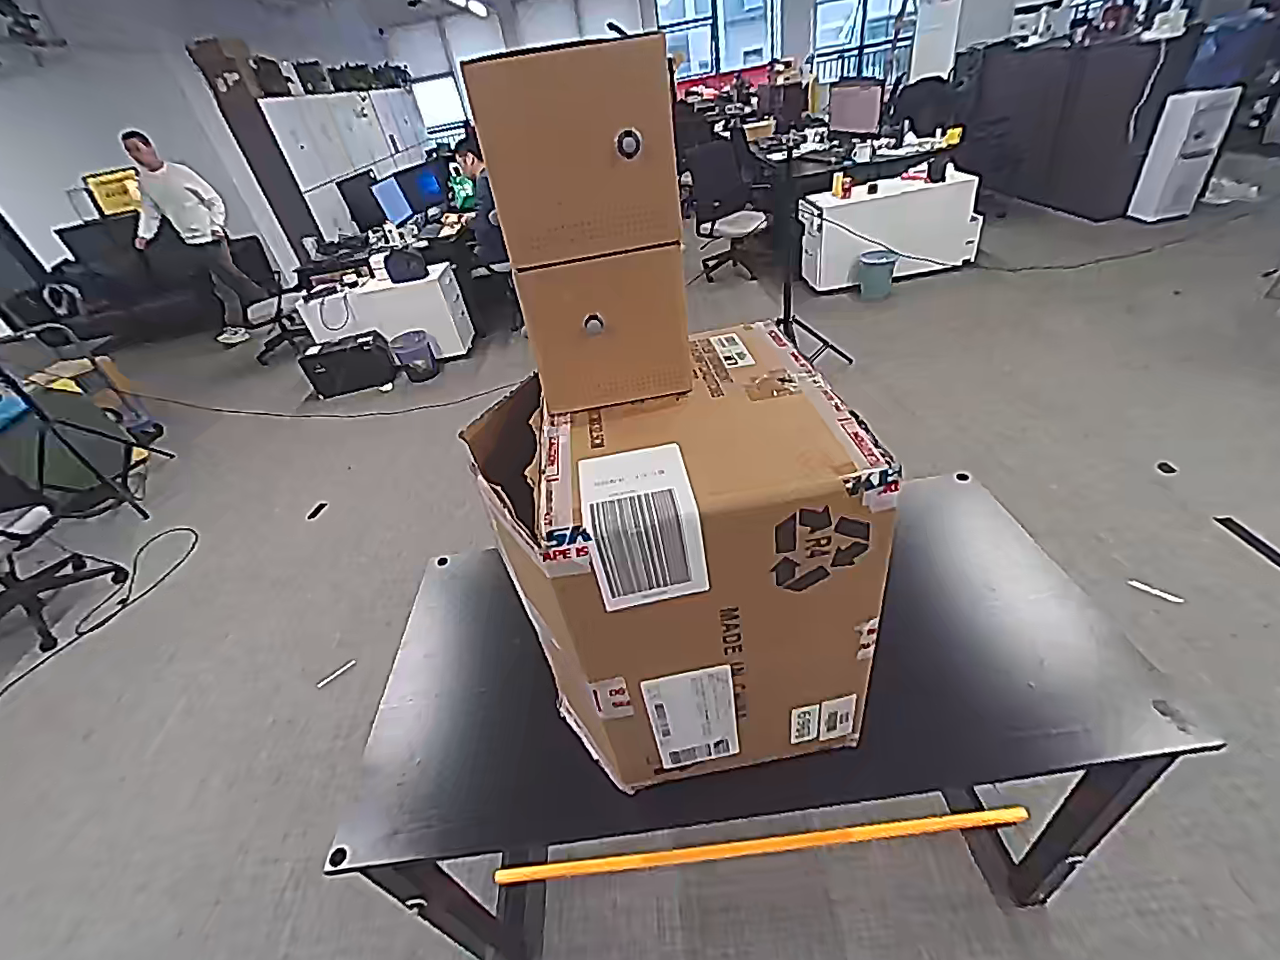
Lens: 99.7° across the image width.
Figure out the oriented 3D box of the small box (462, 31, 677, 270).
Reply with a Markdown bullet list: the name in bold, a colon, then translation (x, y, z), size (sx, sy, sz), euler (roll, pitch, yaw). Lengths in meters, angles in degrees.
- **small box**: translation (-0.062, -0.332, 0.555), size (0.179, 0.176, 0.168), euler (-12, 34, -3)

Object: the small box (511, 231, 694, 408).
- **small box**: translation (-0.041, -0.202, 0.652), size (0.179, 0.176, 0.168), euler (-11, 35, -1)
